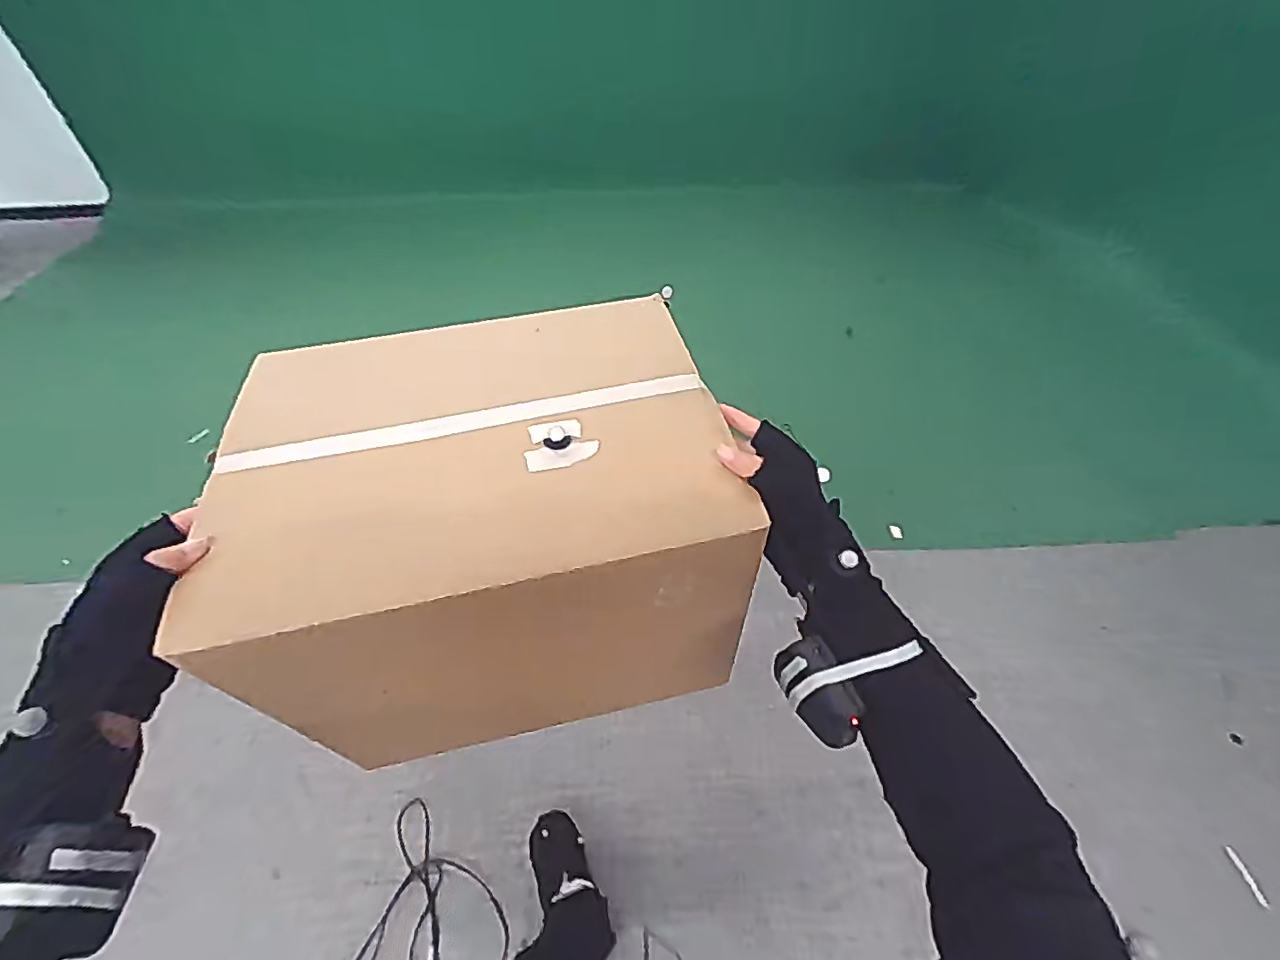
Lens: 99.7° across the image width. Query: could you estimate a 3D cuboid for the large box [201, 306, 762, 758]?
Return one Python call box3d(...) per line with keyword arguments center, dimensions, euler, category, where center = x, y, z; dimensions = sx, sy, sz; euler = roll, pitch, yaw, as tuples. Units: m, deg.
box3d(center=(-0.132, 0.053, 0.587), dimensions=(0.408, 0.320, 0.320), euler=(-11, 51, -8), category="large box")
